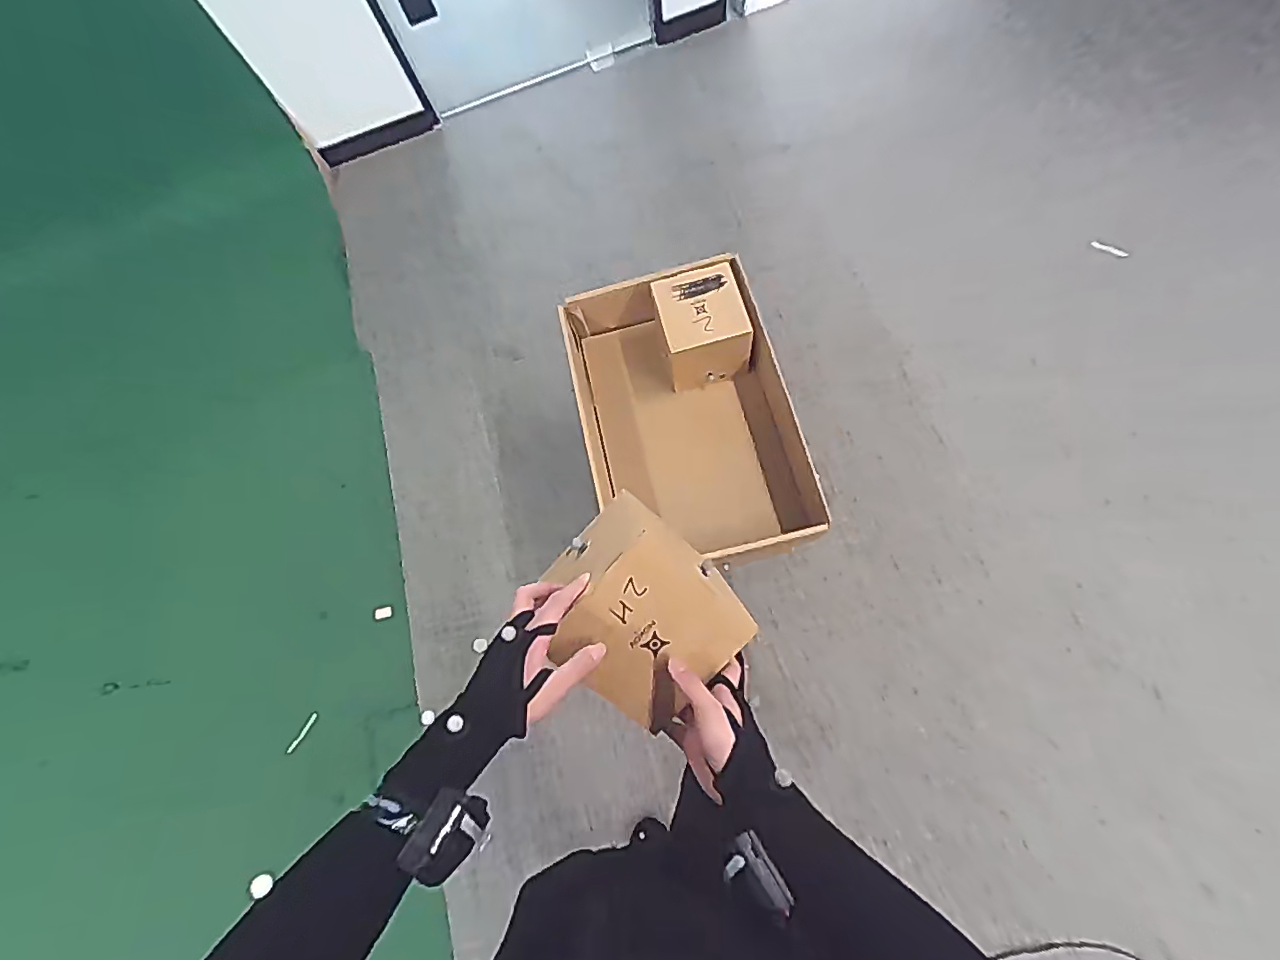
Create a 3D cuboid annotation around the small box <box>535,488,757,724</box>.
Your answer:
[{"bbox_3d":[-0.001,0.133,0.631,0.179,0.176,0.168,42,94,-15],"label":"small box"}]
